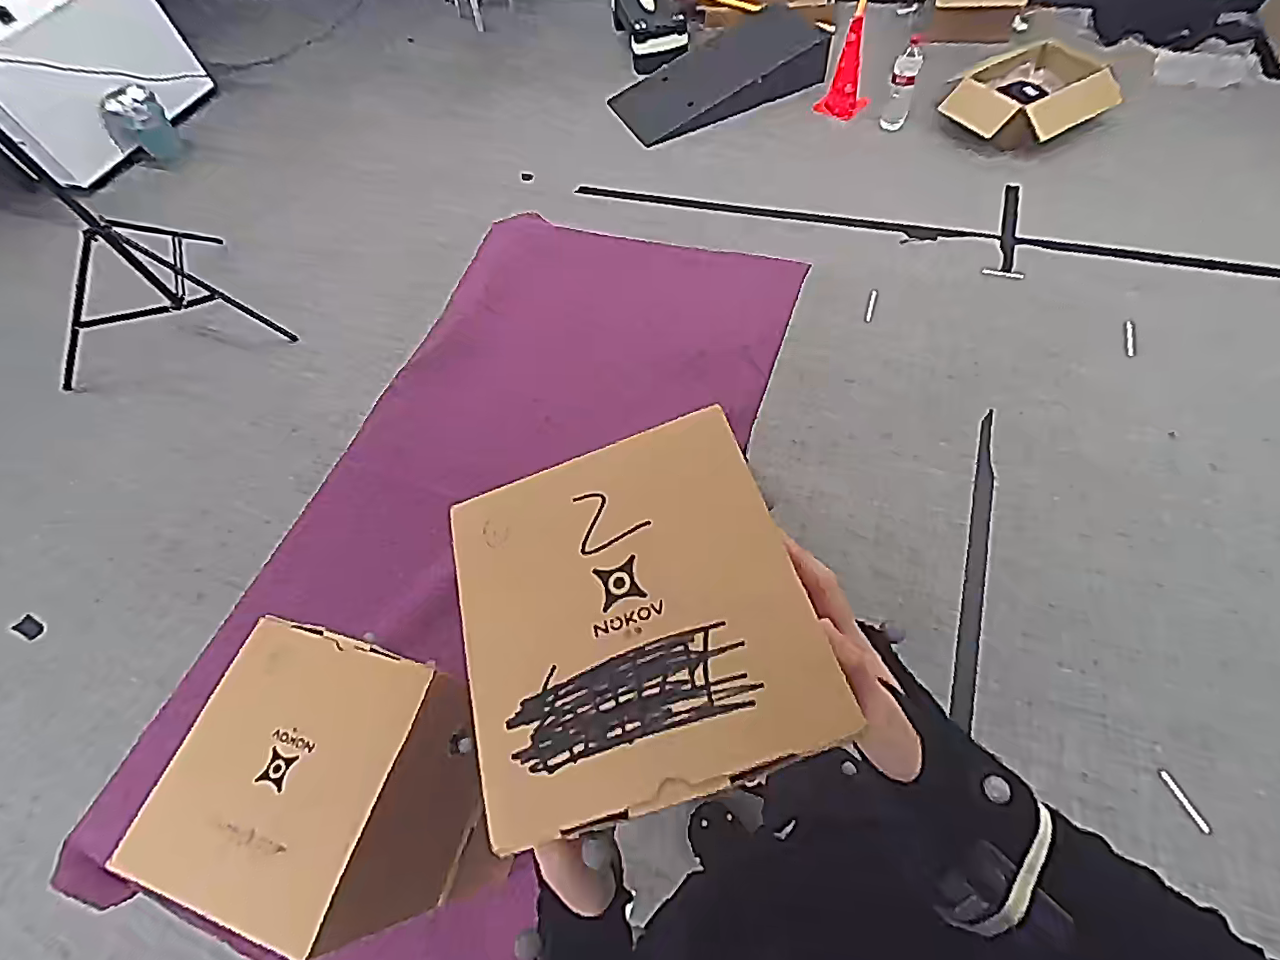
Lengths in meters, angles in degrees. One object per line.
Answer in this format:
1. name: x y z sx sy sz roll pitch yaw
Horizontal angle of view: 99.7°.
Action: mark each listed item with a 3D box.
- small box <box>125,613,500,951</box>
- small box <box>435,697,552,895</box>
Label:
1. small box: -0.237 0.234 0.450 0.168 0.176 0.179 10 63 15
2. small box: -0.219 0.314 0.591 0.179 0.176 0.168 13 63 14
